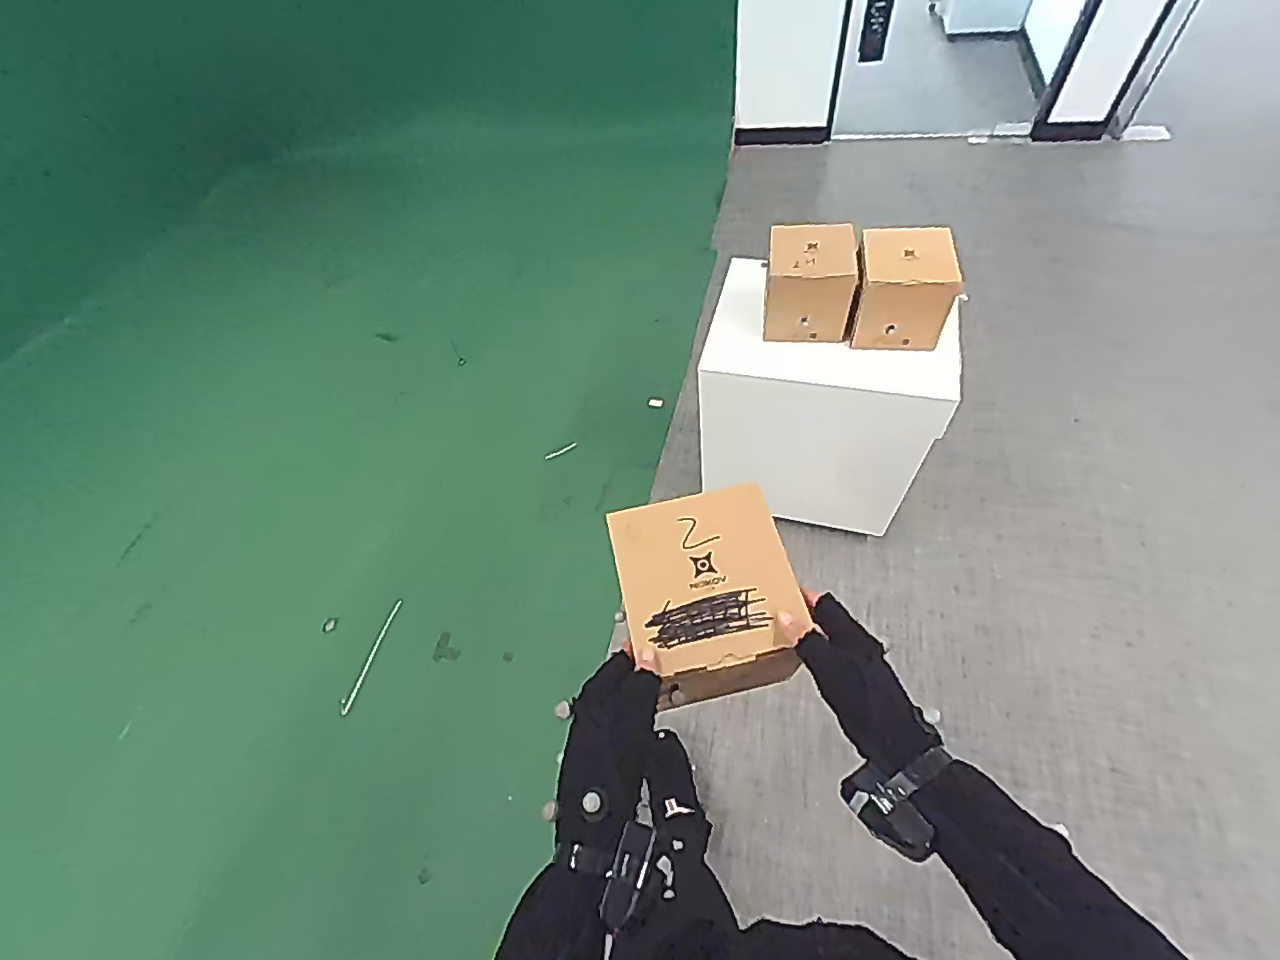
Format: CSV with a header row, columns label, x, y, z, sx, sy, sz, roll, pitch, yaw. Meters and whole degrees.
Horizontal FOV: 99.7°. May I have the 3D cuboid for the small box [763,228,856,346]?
label,x,y,z,sx,sy,sz,roll,pitch,yaw
small box,0.351,-0.409,1.147,0.168,0.176,0.179,3,56,11
